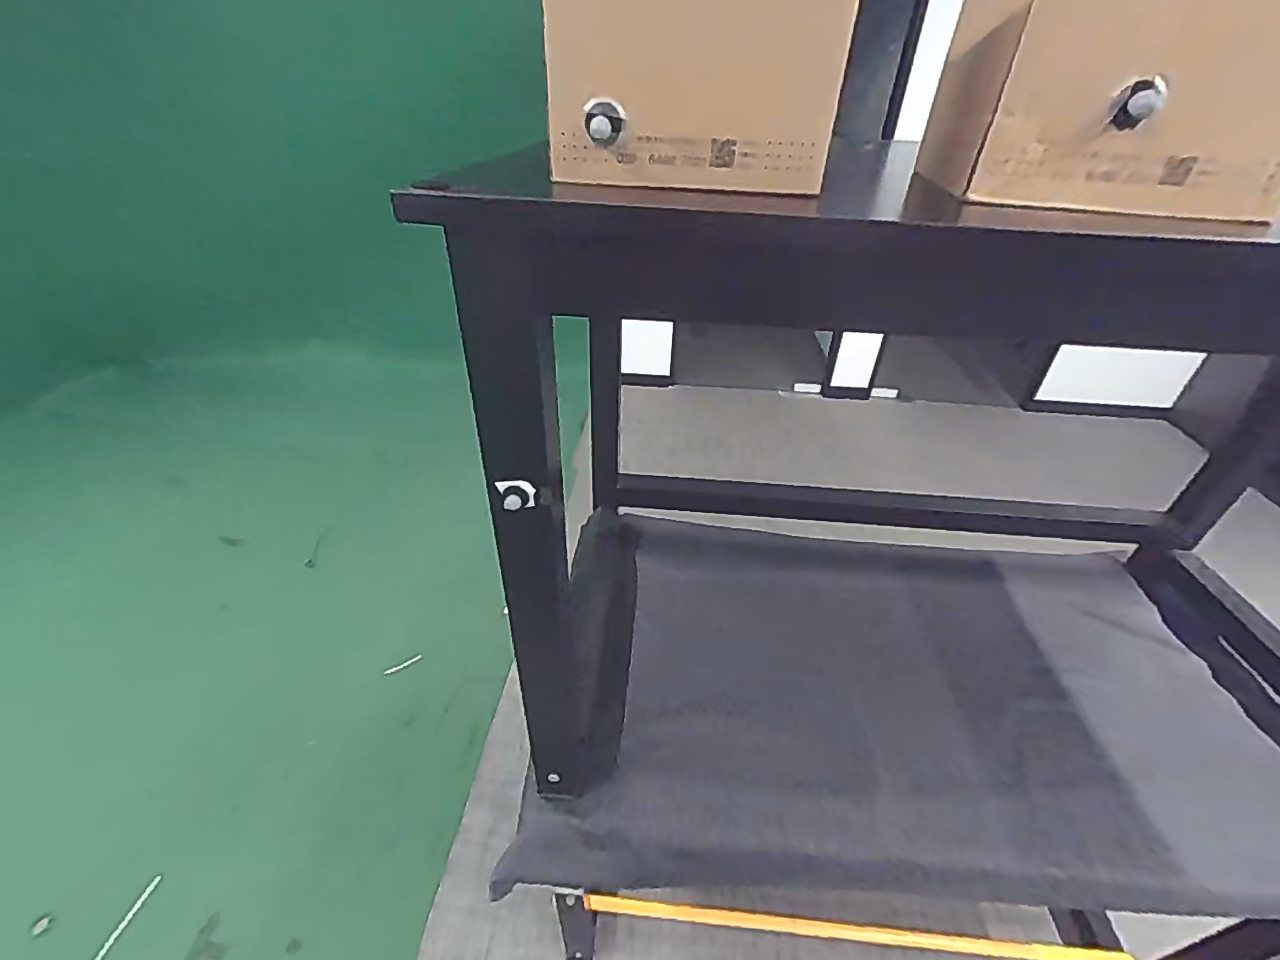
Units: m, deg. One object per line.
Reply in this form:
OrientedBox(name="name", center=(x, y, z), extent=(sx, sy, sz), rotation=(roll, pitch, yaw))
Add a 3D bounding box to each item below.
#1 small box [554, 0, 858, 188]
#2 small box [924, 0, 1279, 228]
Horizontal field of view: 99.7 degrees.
OrientedBox(name="small box", center=(0.041, -0.296, 0.352), extent=(0.168, 0.176, 0.179), rotation=(4, 35, 2))
OrientedBox(name="small box", center=(0.304, -0.273, 0.343), extent=(0.168, 0.176, 0.179), rotation=(10, 37, 9))
